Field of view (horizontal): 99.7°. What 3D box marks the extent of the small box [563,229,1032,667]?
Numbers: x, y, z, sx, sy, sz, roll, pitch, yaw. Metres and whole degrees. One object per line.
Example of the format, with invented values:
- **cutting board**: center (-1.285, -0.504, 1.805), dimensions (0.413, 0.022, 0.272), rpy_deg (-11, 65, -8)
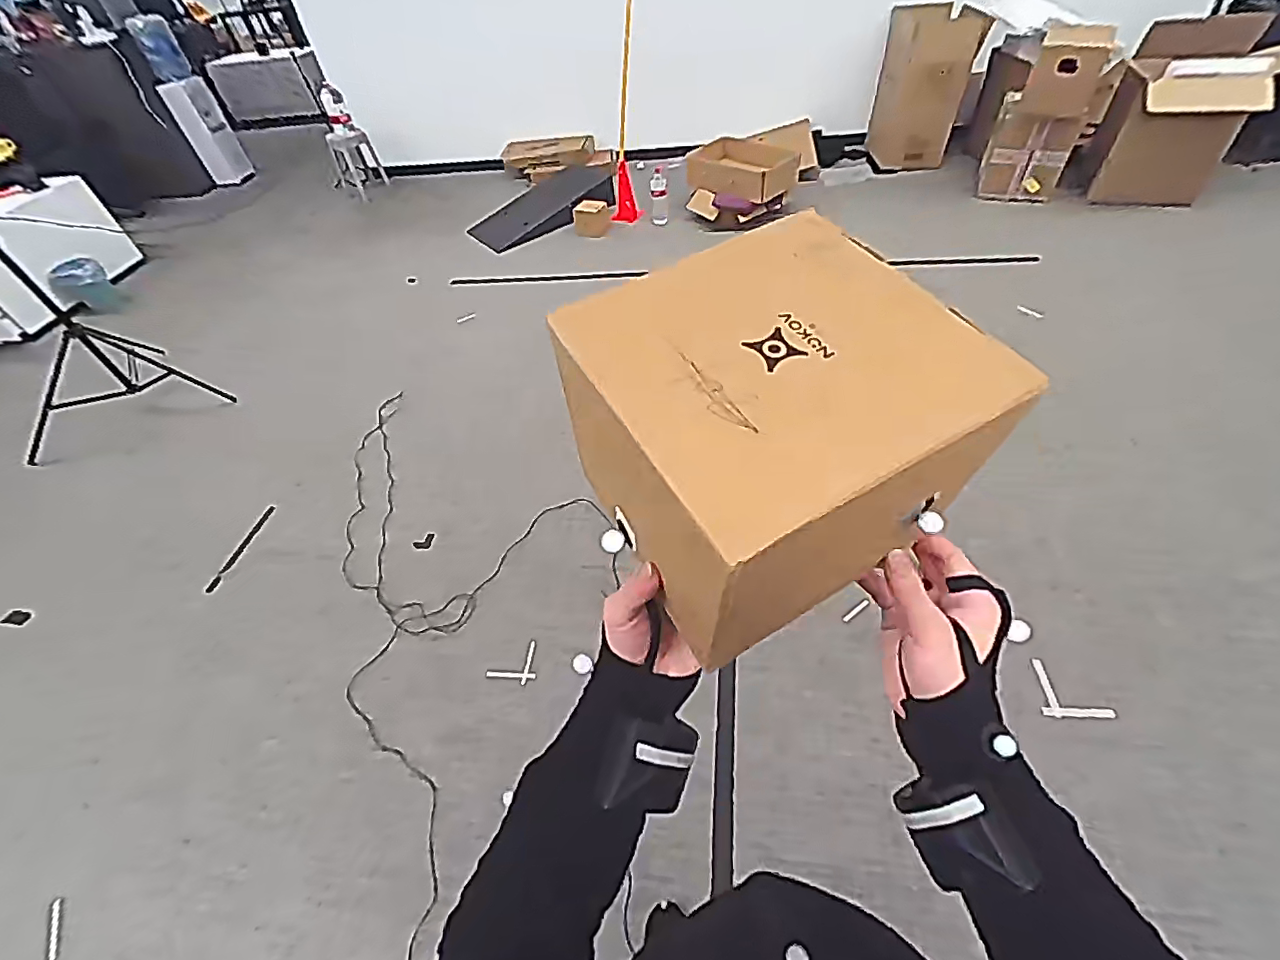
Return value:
- **small box**: center (0.074, -0.014, 0.337), dimensions (0.179, 0.176, 0.168), rpy_deg (-28, 59, -14)
